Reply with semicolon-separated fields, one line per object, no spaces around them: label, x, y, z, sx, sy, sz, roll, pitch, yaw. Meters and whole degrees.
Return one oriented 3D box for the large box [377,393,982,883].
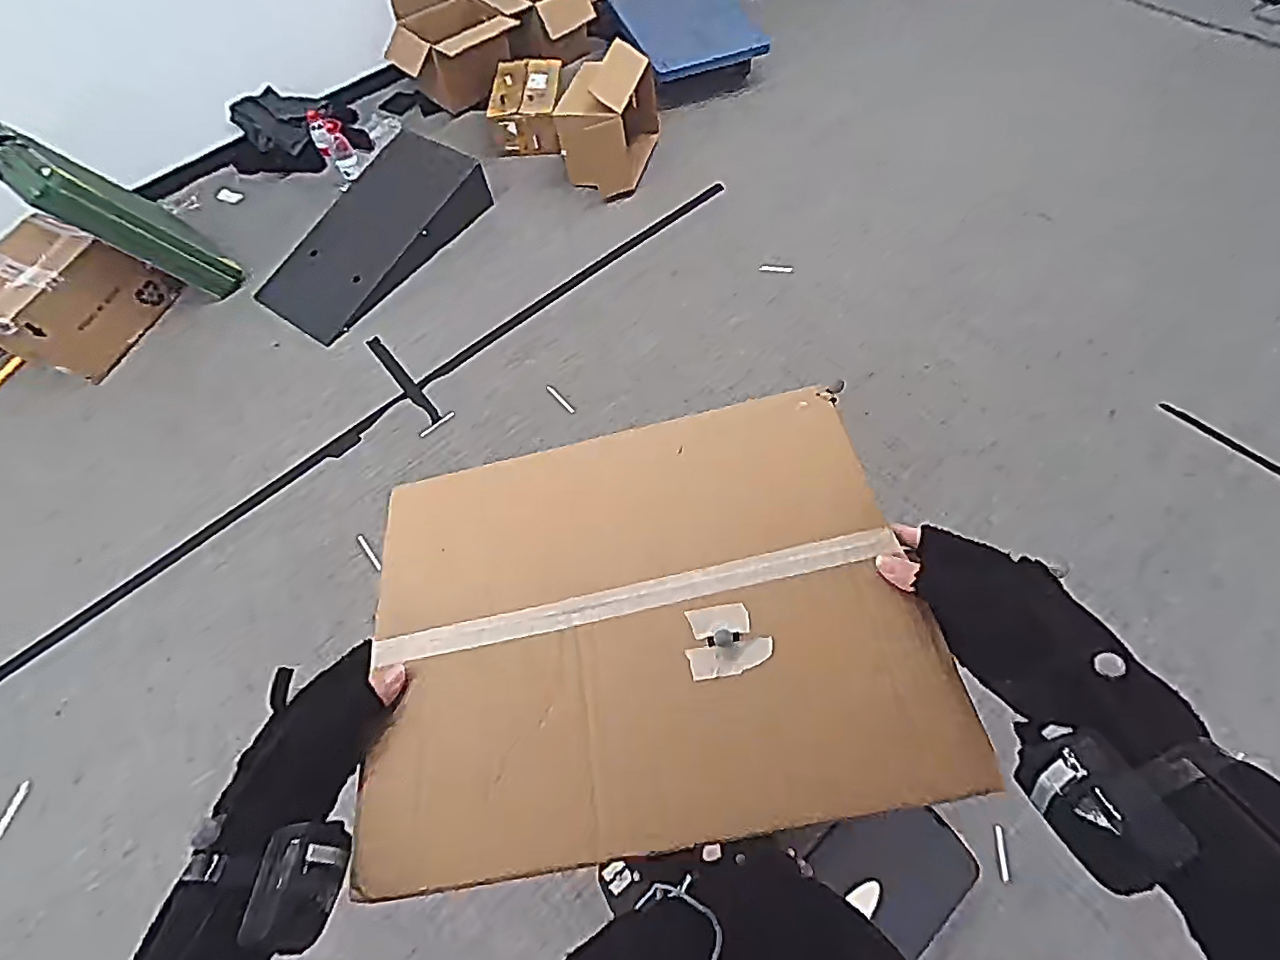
large box;0.021;0.168;0.545;0.408;0.320;0.320;-13;58;5

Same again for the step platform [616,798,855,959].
step platform;0.269;0.740;1.268;0.684;0.204;0.286;-40;67;-15
